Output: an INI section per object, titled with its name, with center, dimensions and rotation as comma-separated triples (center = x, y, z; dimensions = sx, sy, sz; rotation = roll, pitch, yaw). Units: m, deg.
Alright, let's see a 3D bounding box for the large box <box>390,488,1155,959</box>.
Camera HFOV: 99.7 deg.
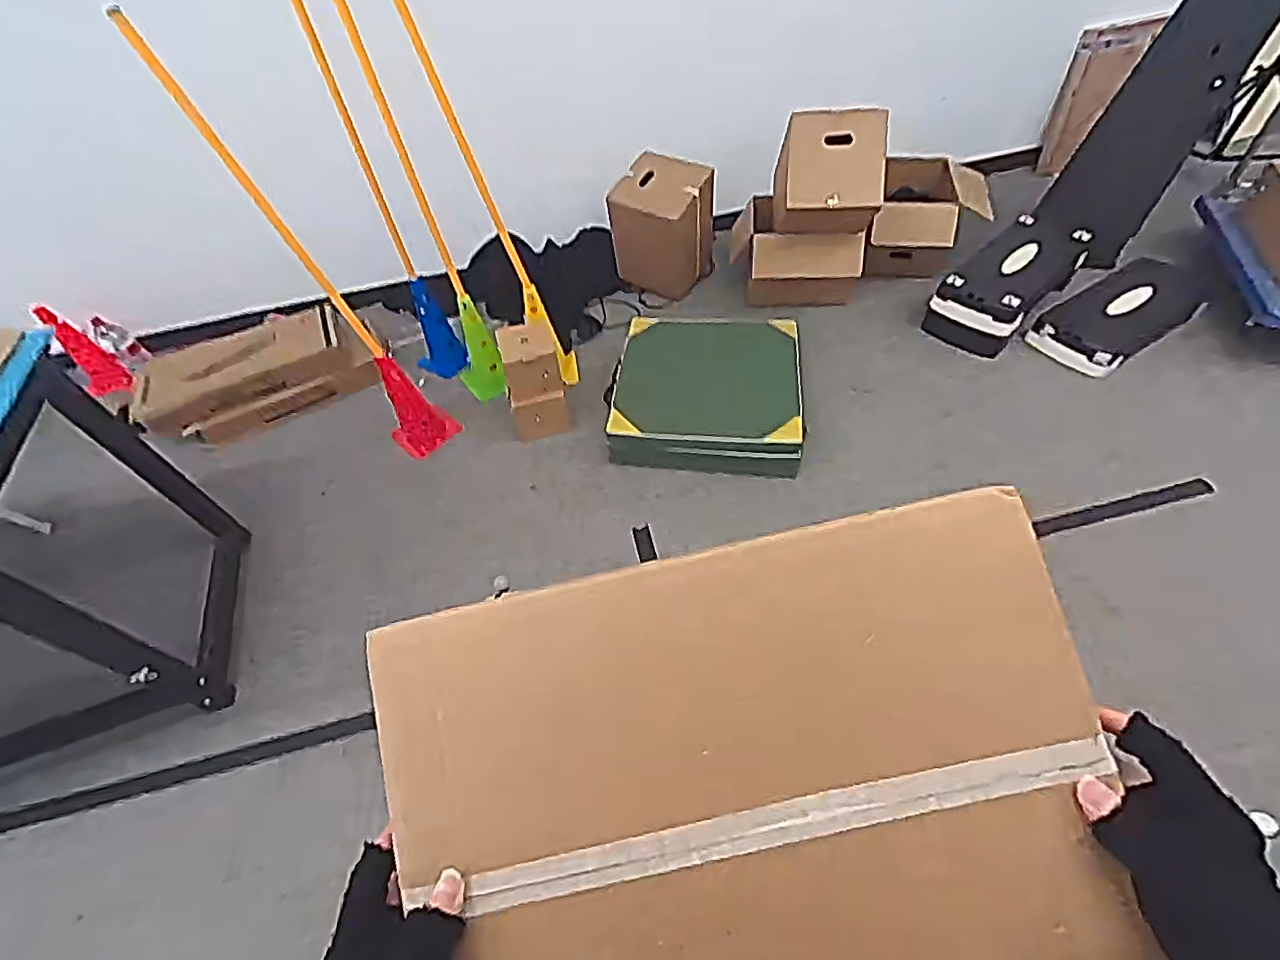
[large box]
center = 0.071, 0.221, 0.468
dimensions = 0.408, 0.320, 0.320
rotation = -13, 82, 1
